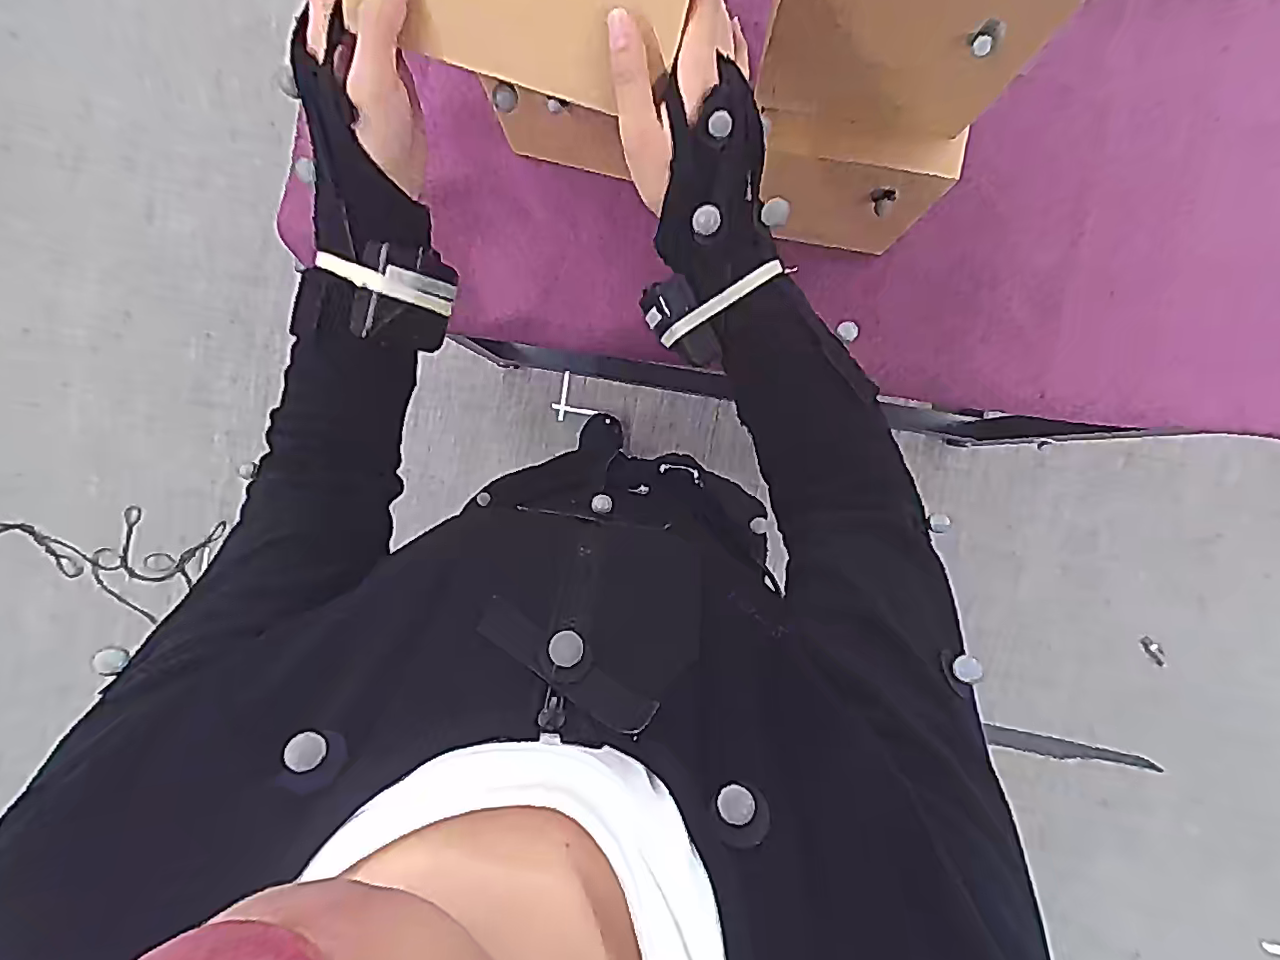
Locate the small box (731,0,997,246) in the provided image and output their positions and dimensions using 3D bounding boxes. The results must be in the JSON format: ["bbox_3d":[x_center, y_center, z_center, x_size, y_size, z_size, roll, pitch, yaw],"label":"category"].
[{"bbox_3d":[0.199,-0.351,0.531,0.179,0.176,0.168,11,91,1],"label":"small box"}]

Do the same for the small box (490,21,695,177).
[{"bbox_3d":[-0.045,-0.435,0.537,0.179,0.176,0.168,14,92,0],"label":"small box"}]

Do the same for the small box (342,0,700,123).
[{"bbox_3d":[-0.048,-0.329,0.308,0.179,0.176,0.168,12,126,-9],"label":"small box"}]
